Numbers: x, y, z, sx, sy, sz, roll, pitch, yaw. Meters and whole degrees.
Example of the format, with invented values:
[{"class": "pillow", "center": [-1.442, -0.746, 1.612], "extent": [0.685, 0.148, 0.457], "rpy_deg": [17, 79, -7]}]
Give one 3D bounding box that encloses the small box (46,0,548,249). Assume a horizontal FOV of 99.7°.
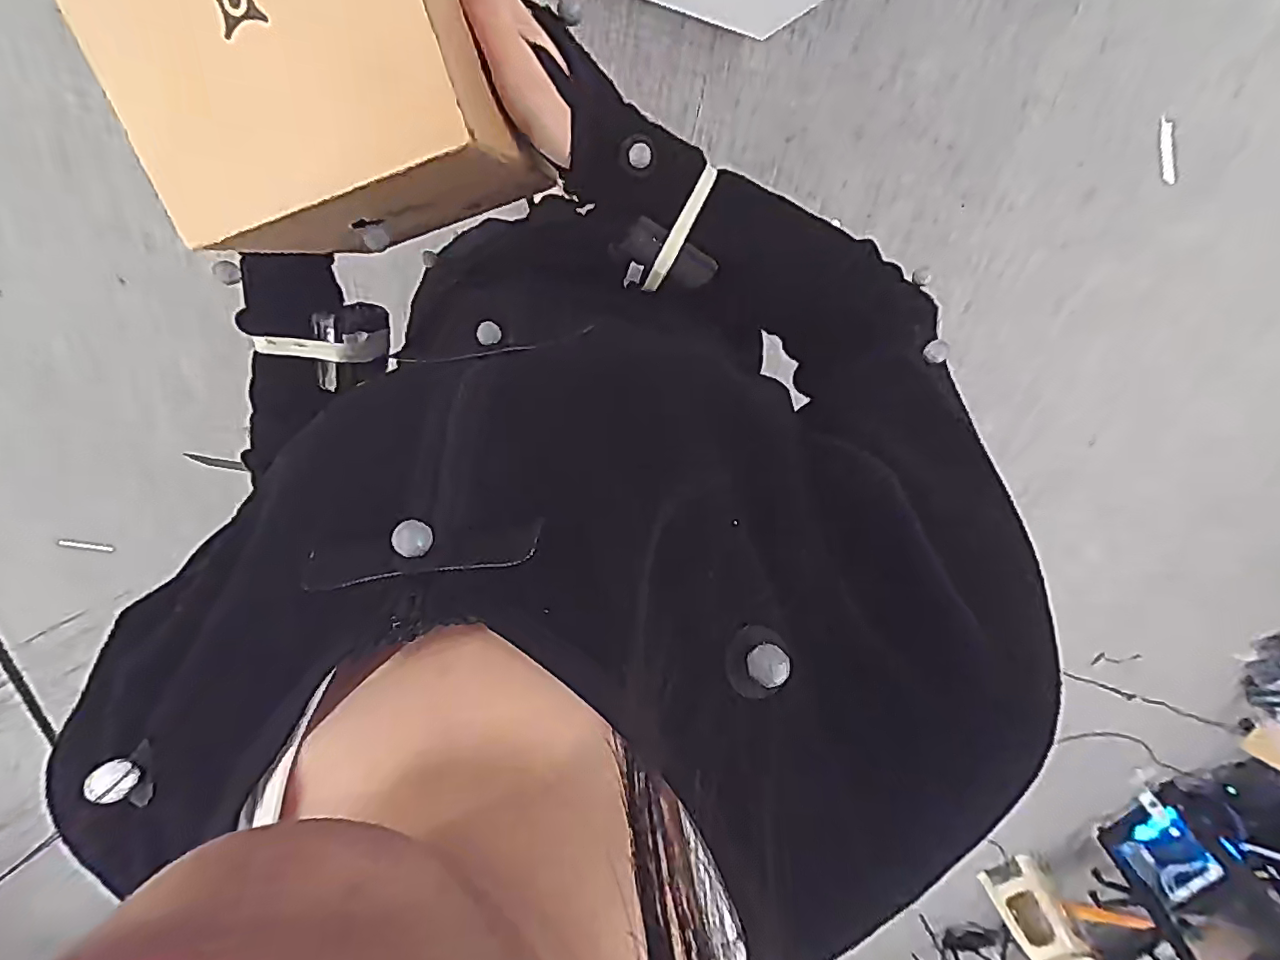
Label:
[{"class": "small box", "center": [-0.169, -0.243, 0.303], "extent": [0.168, 0.176, 0.179], "rpy_deg": [-14, 109, 12]}]
